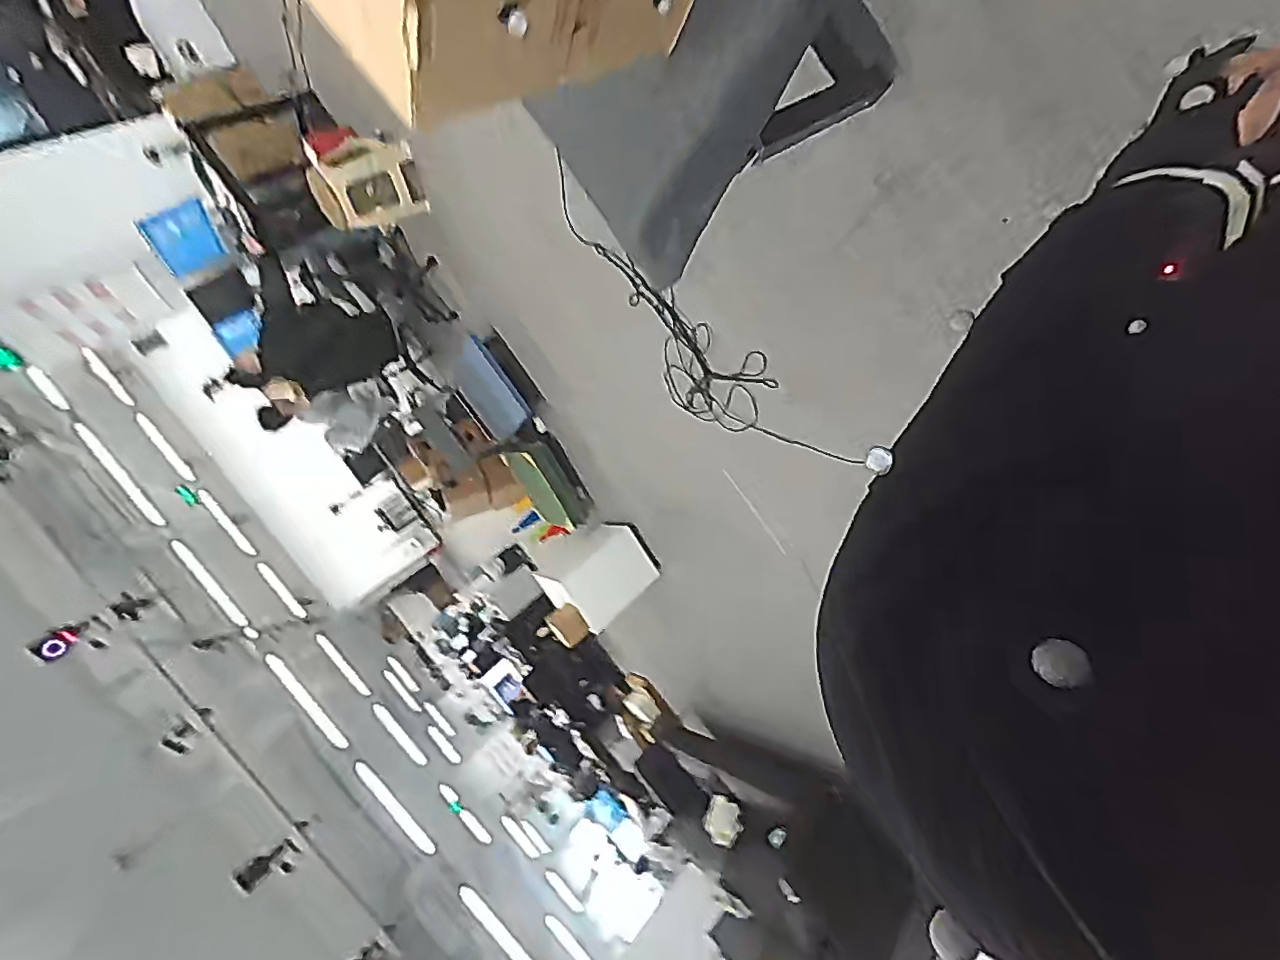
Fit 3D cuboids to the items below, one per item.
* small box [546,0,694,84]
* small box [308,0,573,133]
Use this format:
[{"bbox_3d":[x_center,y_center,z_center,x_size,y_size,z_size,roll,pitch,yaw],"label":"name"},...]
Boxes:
[{"bbox_3d":[-0.046,-0.521,0.499,0.179,0.176,0.168,52,154,-2],"label":"small box"},{"bbox_3d":[-0.158,-0.429,0.423,0.179,0.176,0.168,51,154,-1],"label":"small box"}]
